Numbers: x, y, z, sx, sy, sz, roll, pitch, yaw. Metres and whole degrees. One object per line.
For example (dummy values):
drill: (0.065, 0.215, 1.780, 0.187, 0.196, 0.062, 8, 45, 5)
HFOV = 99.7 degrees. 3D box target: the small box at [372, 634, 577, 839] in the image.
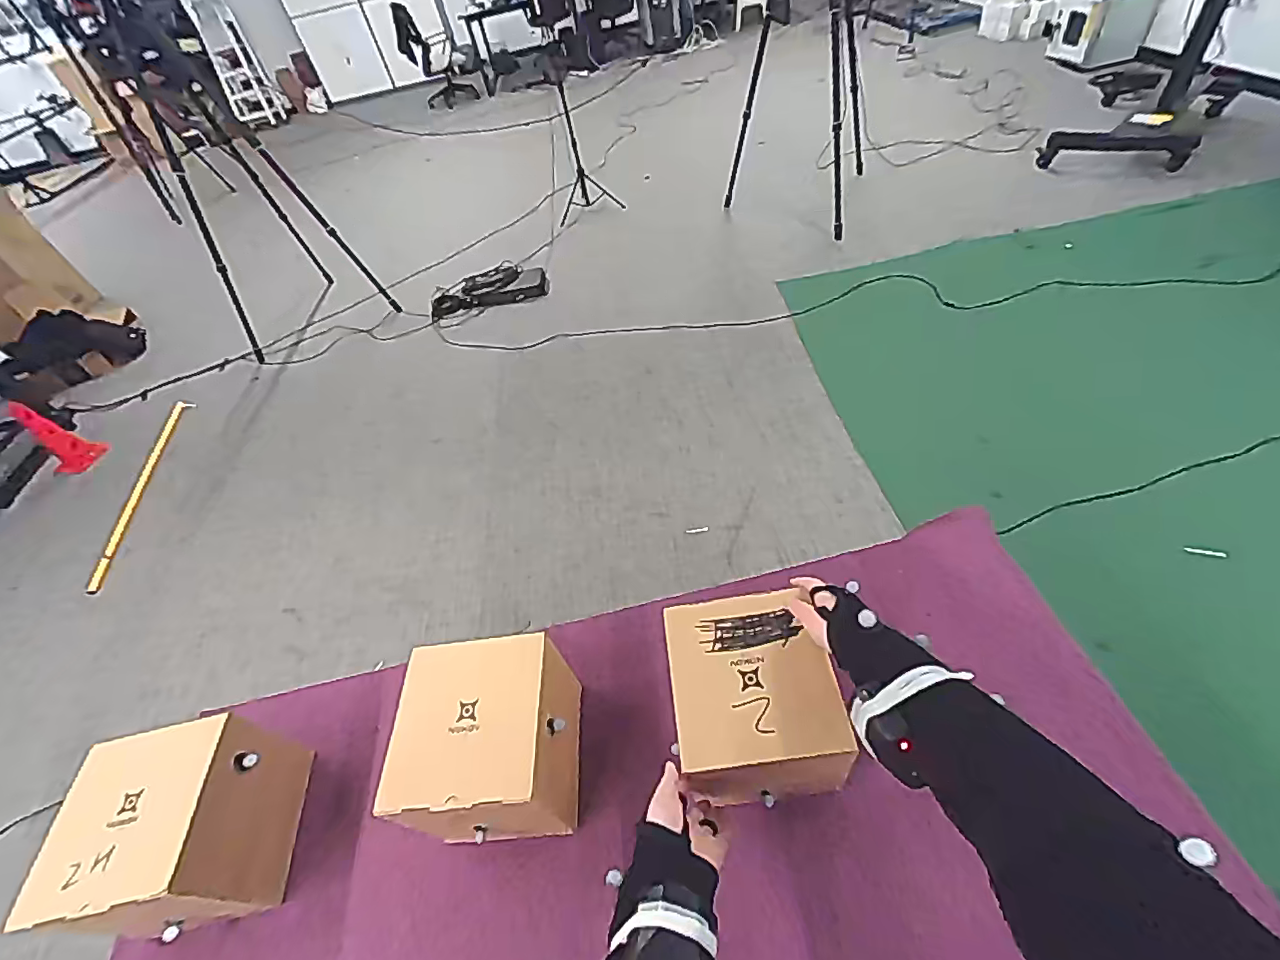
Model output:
small box: (-0.176, 0.306, 0.642, 0.168, 0.176, 0.179, -8, 49, 6)

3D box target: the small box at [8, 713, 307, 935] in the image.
small box: (-0.531, 0.404, 0.634, 0.168, 0.176, 0.179, -14, 48, 1)
